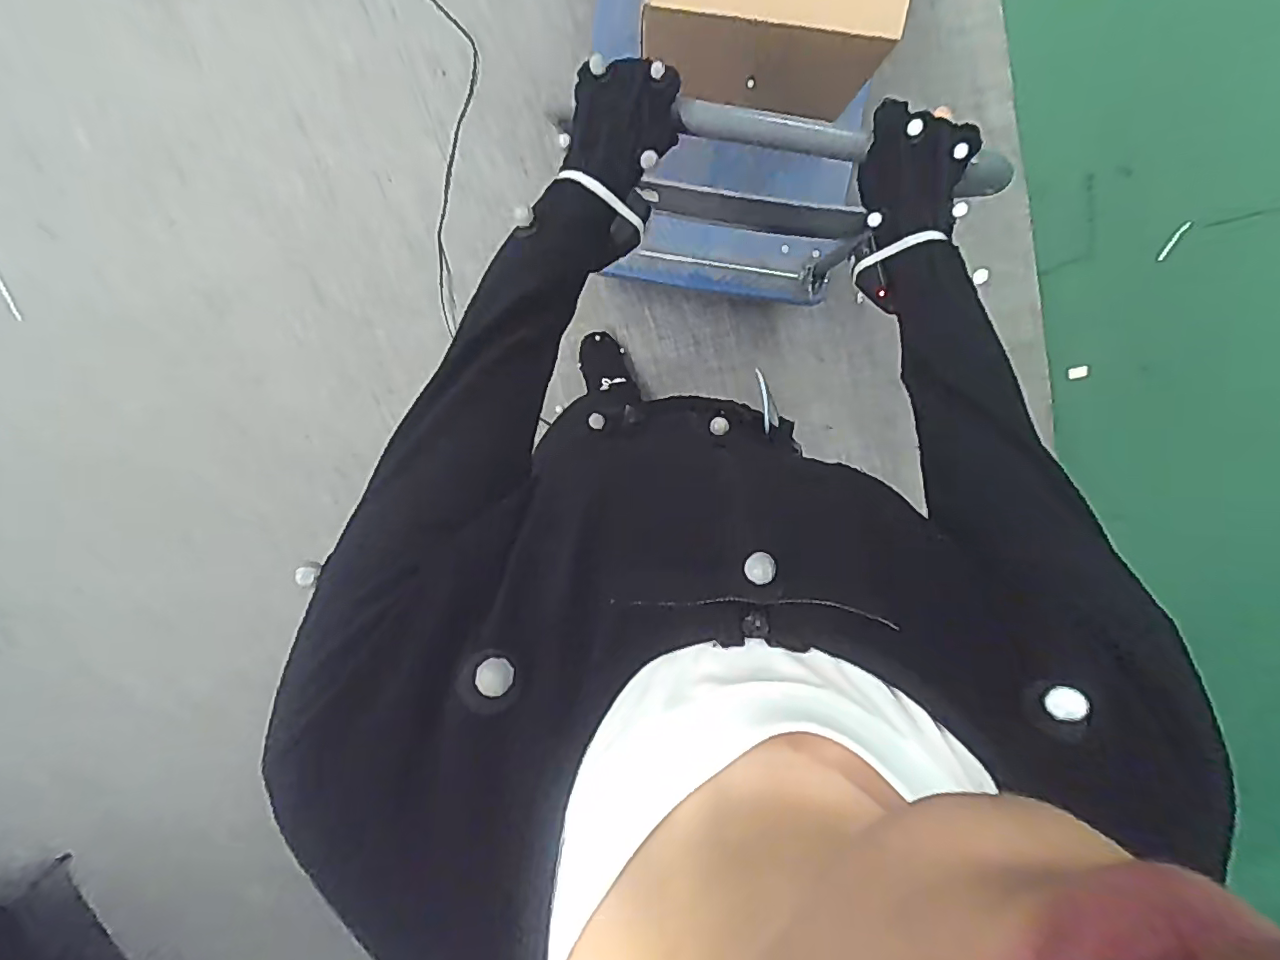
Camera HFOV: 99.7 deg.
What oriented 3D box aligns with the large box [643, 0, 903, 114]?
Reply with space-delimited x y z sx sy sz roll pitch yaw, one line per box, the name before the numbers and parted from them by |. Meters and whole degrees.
large box | 0.222 -0.891 0.949 0.408 0.320 0.320 7 103 -1
